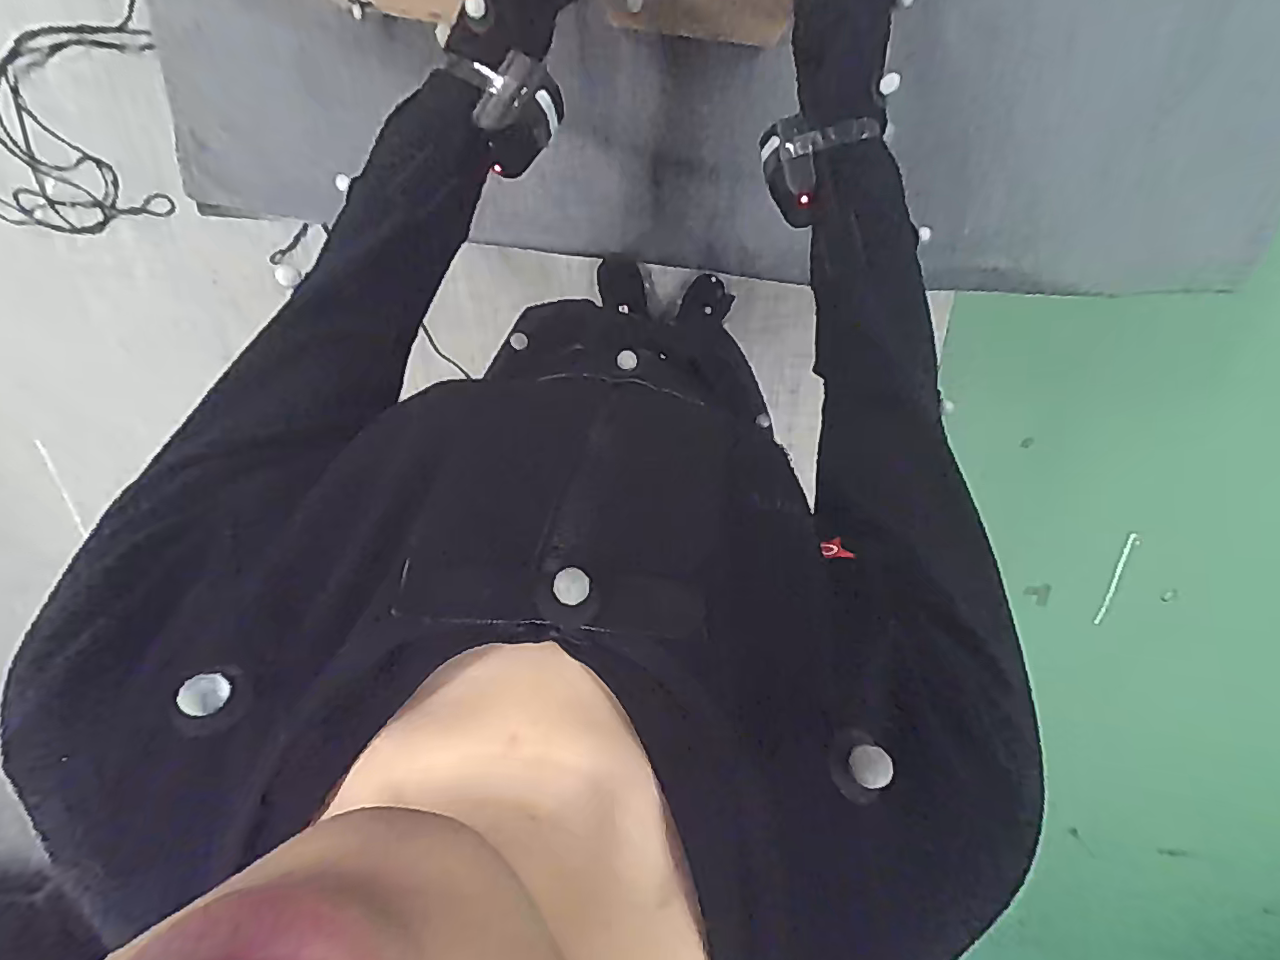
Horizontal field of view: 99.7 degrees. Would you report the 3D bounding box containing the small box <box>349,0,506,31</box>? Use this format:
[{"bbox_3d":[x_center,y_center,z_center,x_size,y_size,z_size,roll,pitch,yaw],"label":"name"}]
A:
[{"bbox_3d":[-0.209,-0.515,0.448,0.168,0.176,0.179,8,112,-1],"label":"small box"}]

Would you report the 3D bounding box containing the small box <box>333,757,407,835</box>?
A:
[{"bbox_3d":[-0.955,1.129,1.933,0.168,0.176,0.179,2,113,3],"label":"small box"}]
